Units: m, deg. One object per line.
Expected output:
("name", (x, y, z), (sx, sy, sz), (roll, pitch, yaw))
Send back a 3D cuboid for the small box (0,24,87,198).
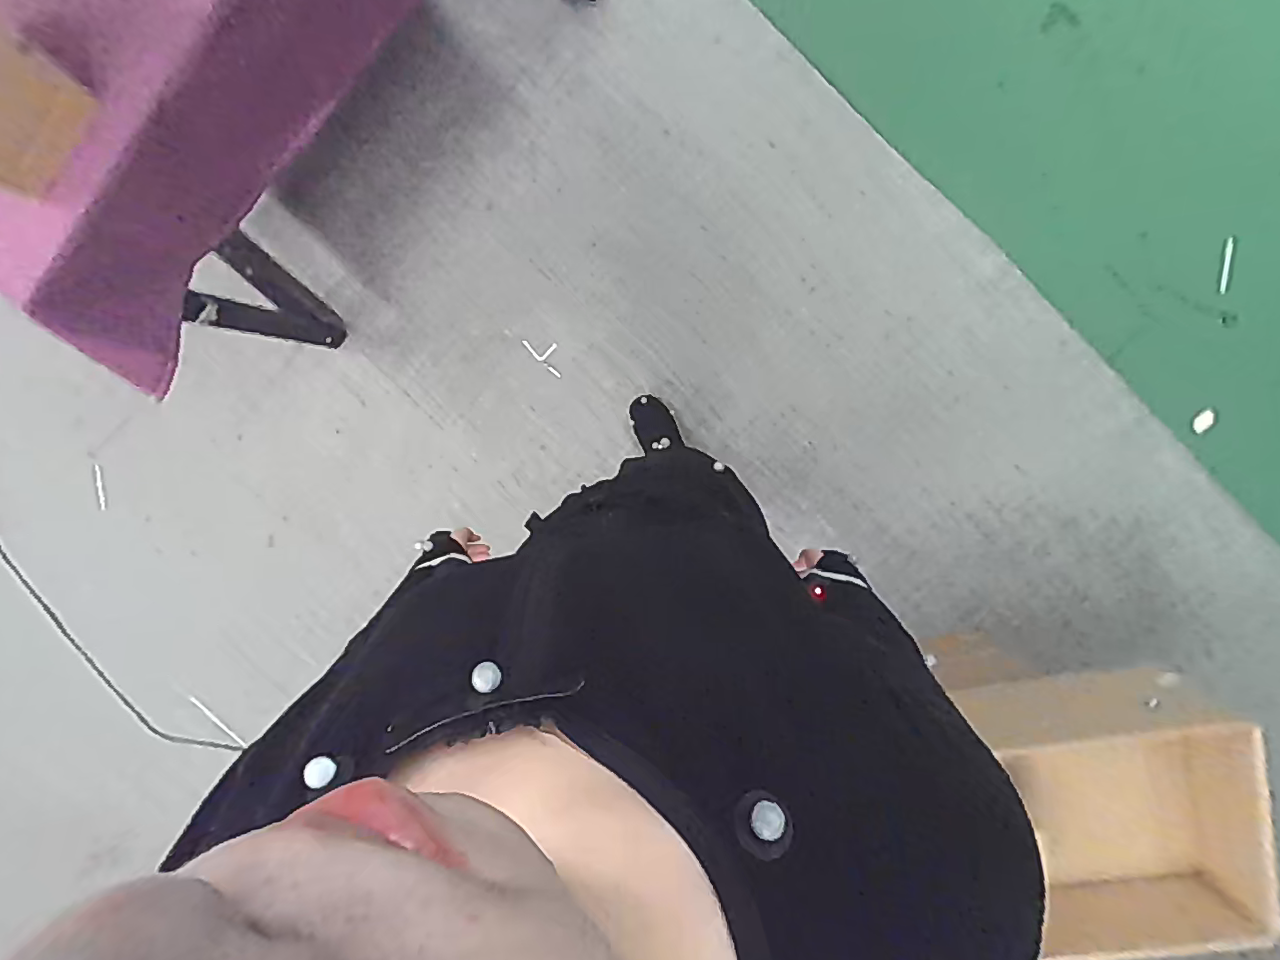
("small box", (-0.876, -0.500, 0.681), (0.168, 0.176, 0.179), (42, 97, -1))
